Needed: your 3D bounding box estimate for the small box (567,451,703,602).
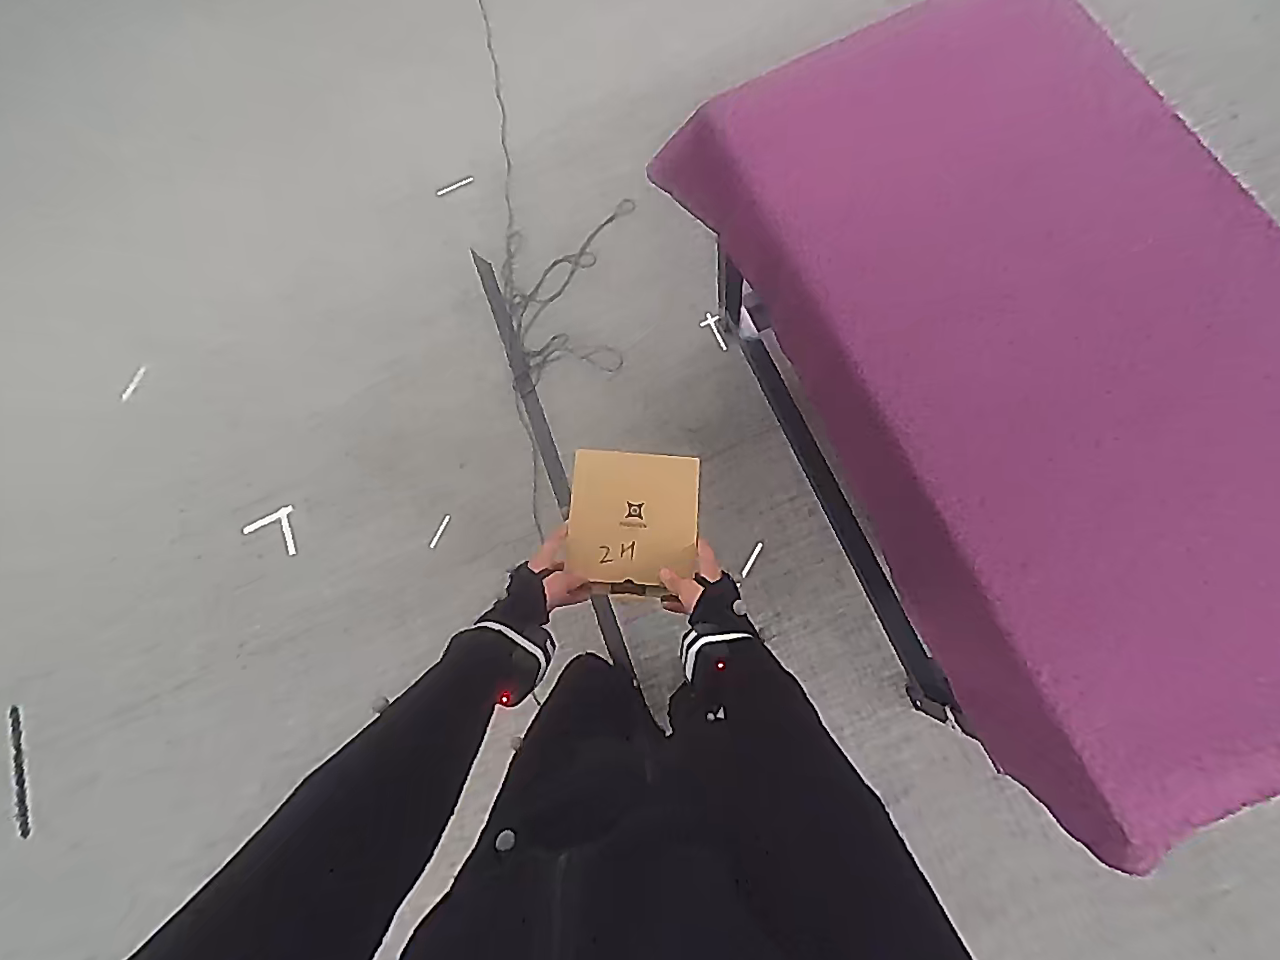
[{"bbox_3d":[-0.007,0.074,0.770,0.168,0.176,0.179,5,74,0],"label":"small box"}]
